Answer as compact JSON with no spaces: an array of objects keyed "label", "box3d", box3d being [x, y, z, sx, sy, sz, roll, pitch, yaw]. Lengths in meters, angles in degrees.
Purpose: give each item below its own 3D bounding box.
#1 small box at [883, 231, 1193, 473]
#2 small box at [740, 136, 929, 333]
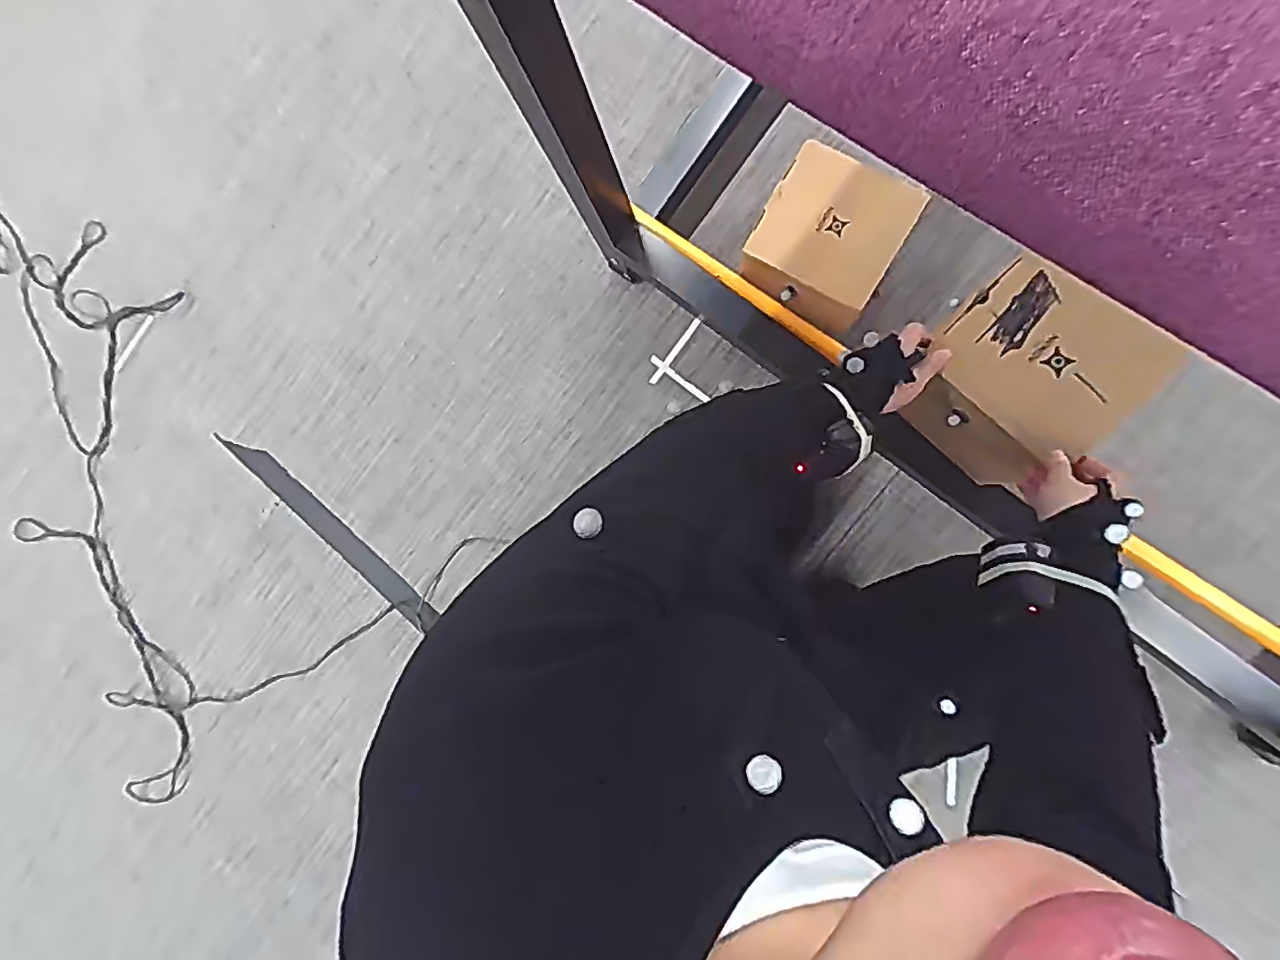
[{"label":"small box","box3d":[0.405,-0.121,0.593,0.179,0.176,0.168,45,94,7]},{"label":"small box","box3d":[0.257,-0.327,0.761,0.179,0.176,0.168,31,94,9]}]
